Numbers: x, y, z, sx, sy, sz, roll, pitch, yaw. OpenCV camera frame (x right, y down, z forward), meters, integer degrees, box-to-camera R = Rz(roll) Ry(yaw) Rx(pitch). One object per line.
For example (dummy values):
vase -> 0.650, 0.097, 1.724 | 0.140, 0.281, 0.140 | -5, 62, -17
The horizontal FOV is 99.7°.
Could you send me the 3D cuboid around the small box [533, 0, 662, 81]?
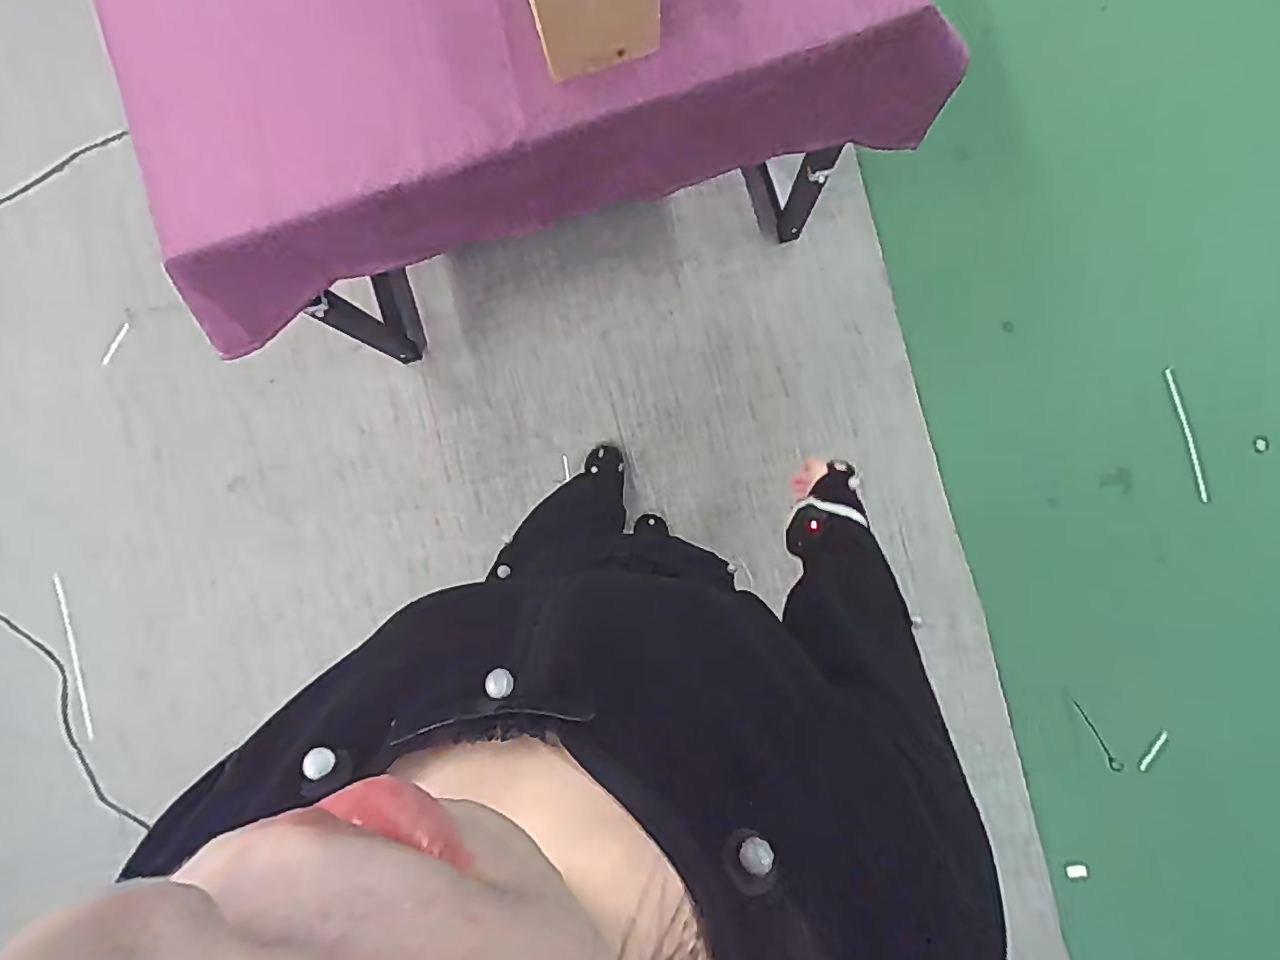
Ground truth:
small box -> -0.071, -0.697, 0.725 | 0.168, 0.176, 0.179 | -17, 87, 3
